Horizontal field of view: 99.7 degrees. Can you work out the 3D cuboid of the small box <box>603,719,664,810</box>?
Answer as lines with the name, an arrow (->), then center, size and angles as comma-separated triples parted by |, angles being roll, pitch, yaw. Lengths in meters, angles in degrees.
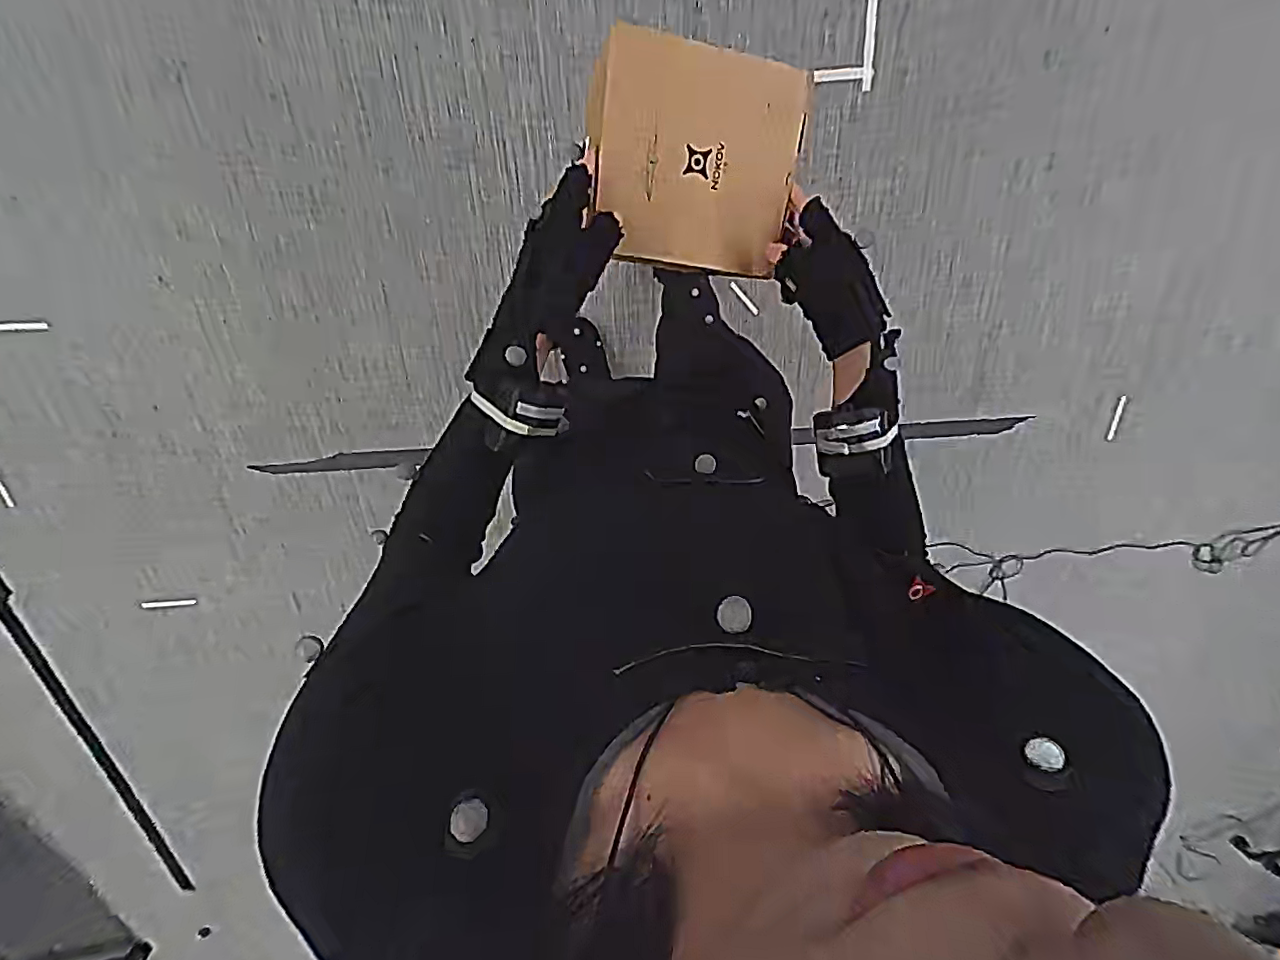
small box -> -0.022, 0.869, 1.659 | 0.168, 0.176, 0.179 | -8, 115, -2

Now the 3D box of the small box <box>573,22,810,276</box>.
small box -> 0.034, -0.300, 0.534 | 0.179, 0.176, 0.168 | 3, 109, -13
